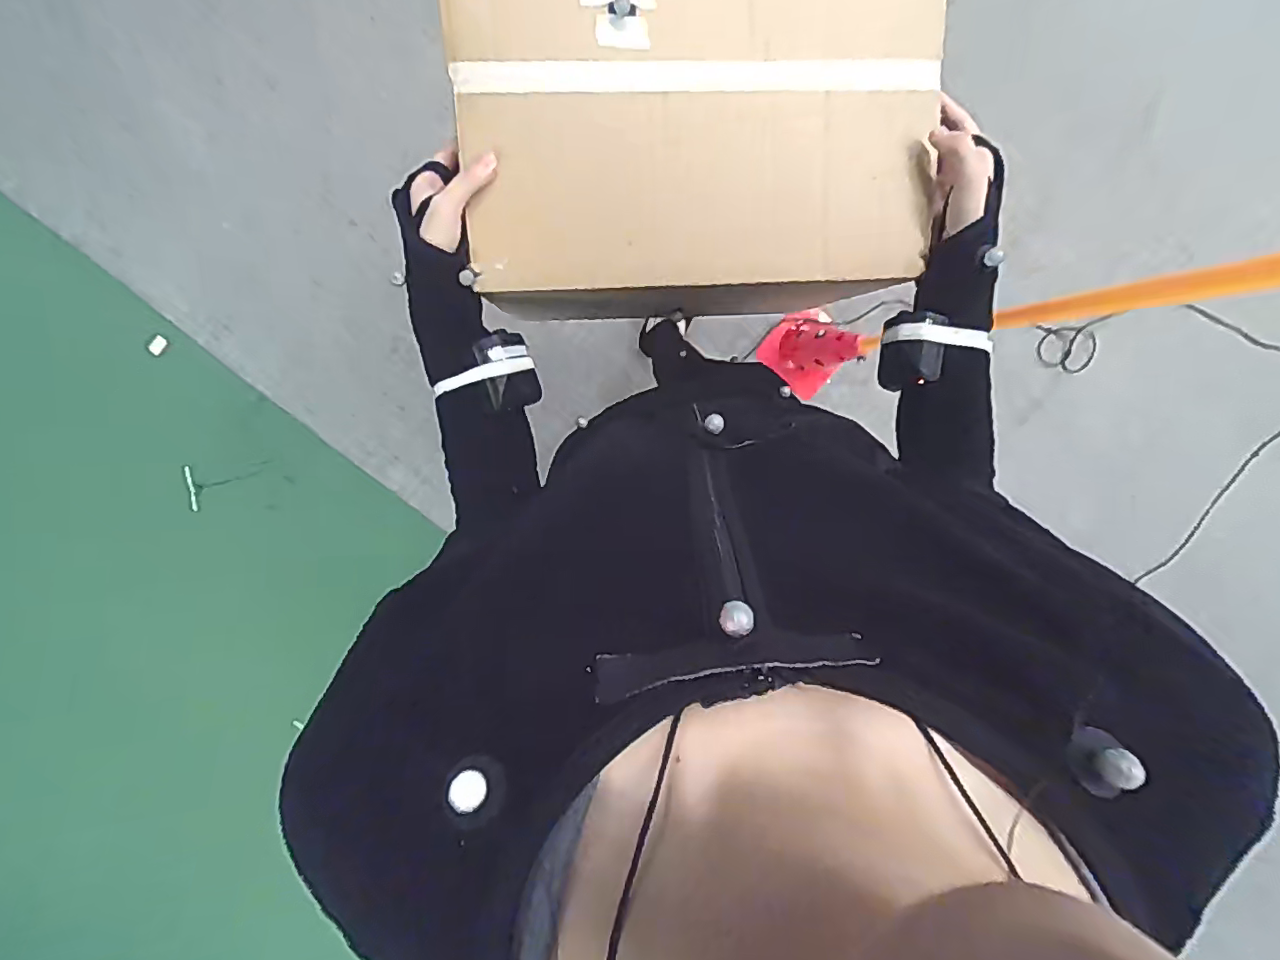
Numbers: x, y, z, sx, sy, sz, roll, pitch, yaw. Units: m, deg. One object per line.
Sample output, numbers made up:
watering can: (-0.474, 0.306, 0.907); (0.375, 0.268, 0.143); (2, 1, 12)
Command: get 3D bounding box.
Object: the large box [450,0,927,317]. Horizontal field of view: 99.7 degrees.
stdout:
large box: (0.037, -0.359, 0.603); (0.408, 0.320, 0.320); (-3, 101, -5)
